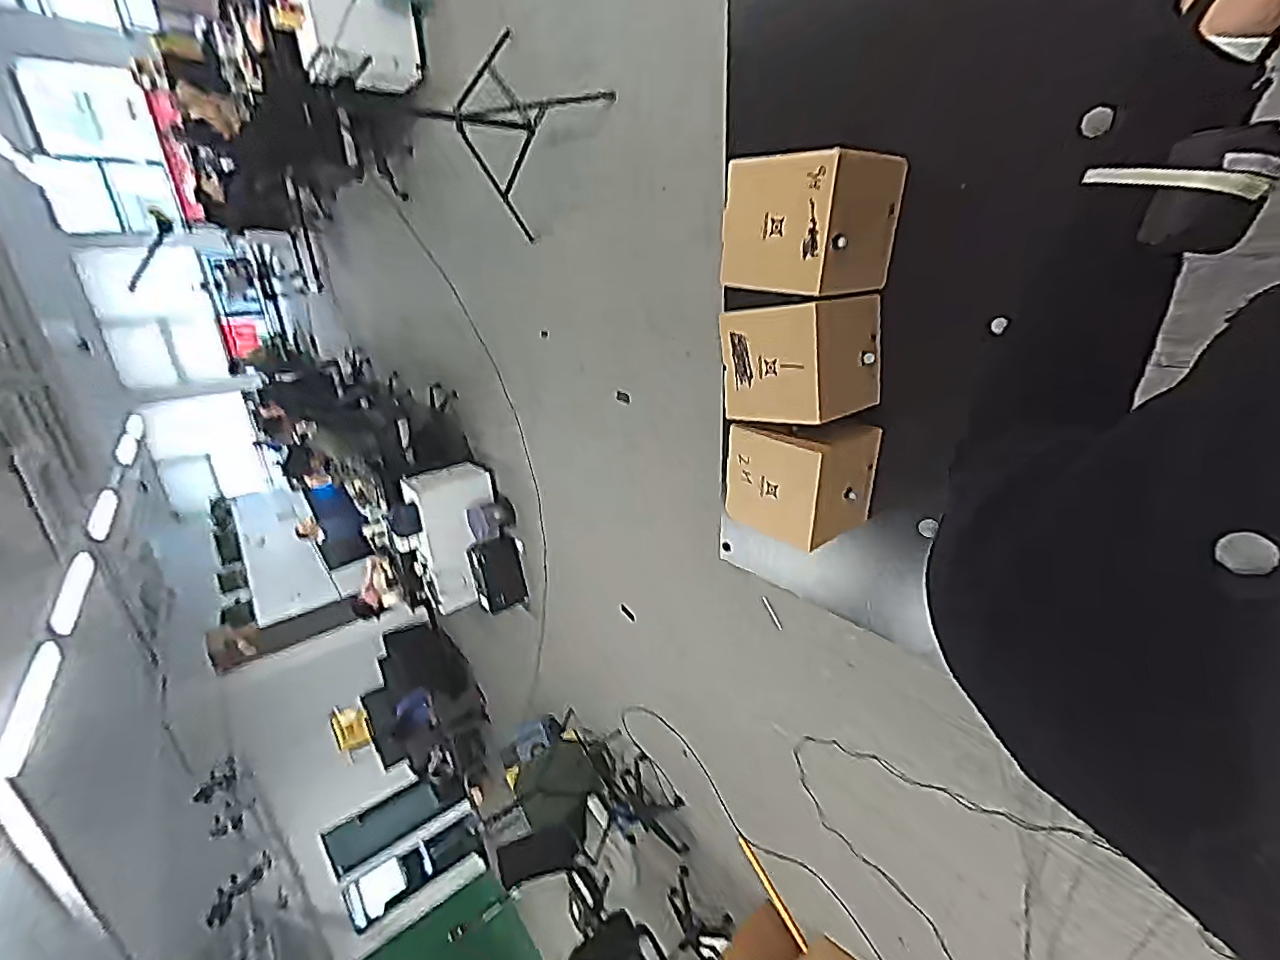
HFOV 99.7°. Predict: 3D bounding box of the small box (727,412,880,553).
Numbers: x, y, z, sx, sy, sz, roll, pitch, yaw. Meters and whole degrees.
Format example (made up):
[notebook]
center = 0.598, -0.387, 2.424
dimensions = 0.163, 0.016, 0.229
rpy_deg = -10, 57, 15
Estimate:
[small box]
center = 0.268, -0.008, 0.894
dimensions = 0.179, 0.176, 0.168
rpy_deg = 26, 124, 47
